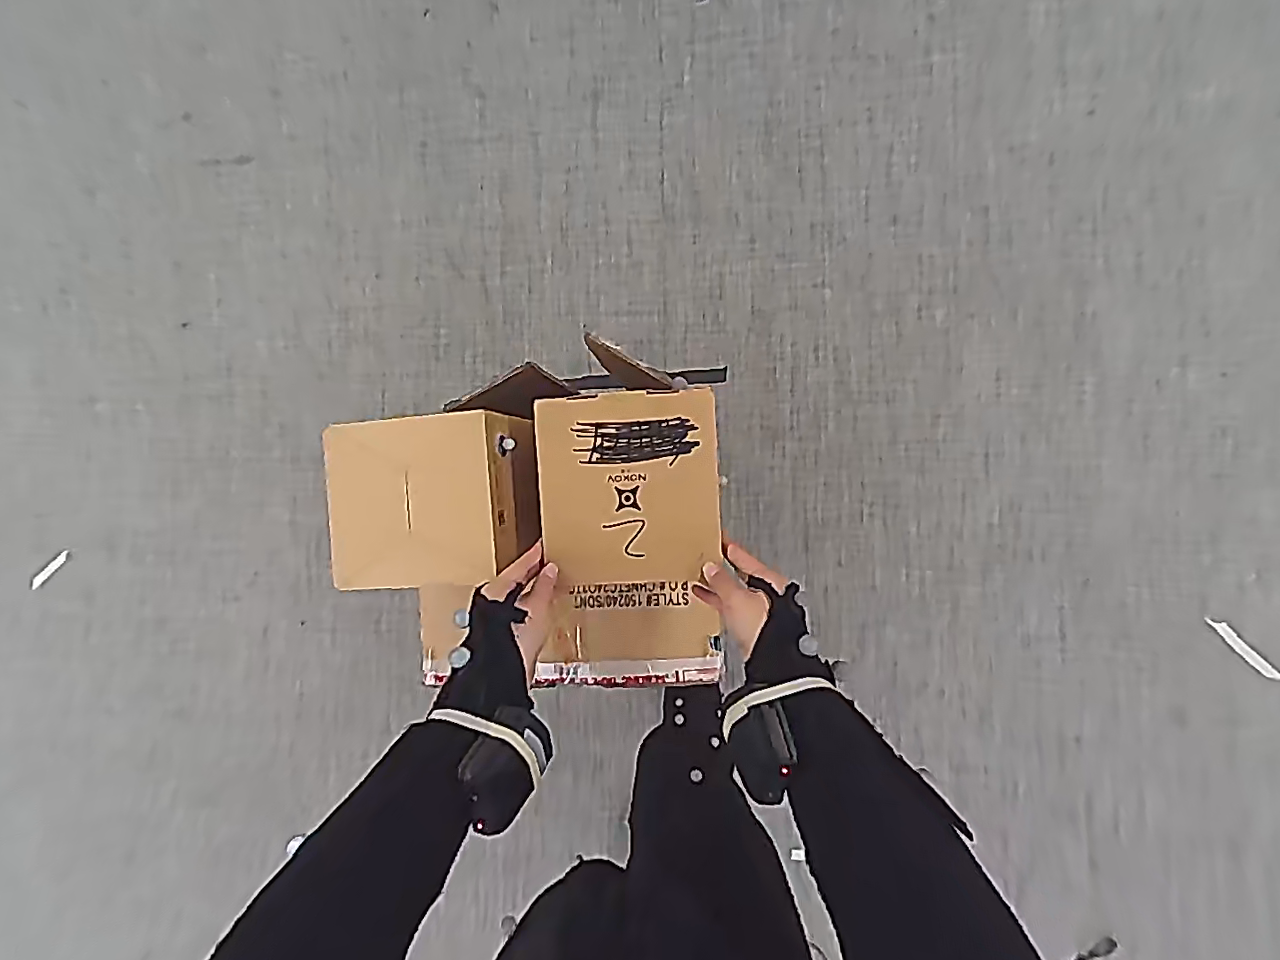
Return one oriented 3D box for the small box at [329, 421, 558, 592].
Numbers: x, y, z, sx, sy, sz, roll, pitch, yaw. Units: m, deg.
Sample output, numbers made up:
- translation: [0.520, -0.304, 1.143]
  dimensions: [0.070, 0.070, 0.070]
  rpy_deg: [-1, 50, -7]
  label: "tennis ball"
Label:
- translation: [-0.207, 0.026, 0.607]
  dimensions: [0.179, 0.176, 0.168]
  rpy_deg: [-4, 90, 10]
  label: "small box"
